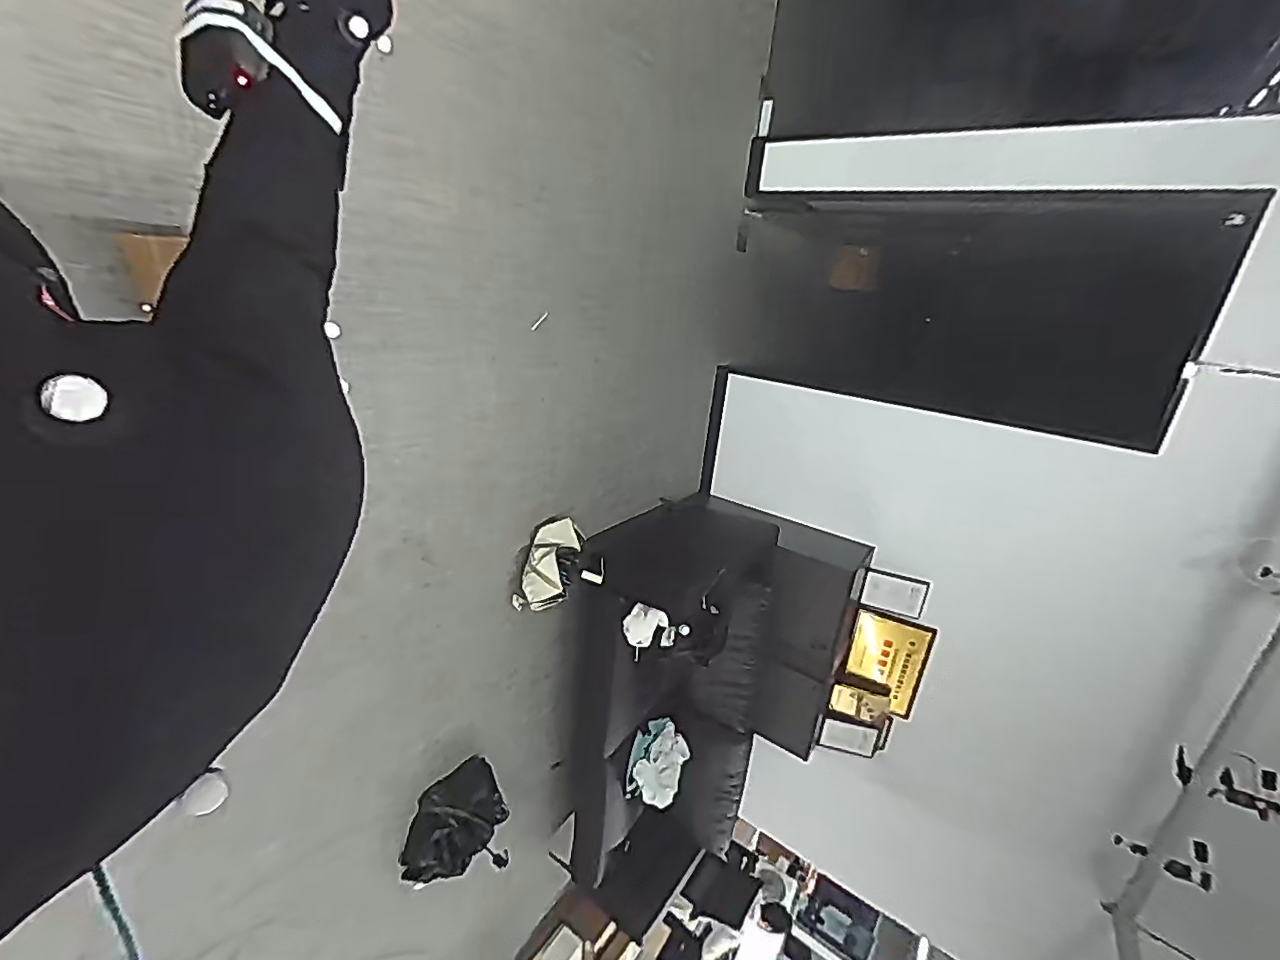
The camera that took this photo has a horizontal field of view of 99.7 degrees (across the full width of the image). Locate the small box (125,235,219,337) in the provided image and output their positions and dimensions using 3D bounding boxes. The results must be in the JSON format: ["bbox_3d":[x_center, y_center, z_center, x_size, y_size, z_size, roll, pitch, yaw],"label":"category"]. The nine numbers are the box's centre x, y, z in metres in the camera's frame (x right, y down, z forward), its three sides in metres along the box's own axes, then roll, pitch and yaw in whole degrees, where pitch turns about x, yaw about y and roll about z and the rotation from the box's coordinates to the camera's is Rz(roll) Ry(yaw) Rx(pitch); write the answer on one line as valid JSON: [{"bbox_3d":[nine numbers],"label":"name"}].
[{"bbox_3d":[-0.916,-0.401,1.118,0.168,0.176,0.179,-25,126,-51],"label":"small box"}]
